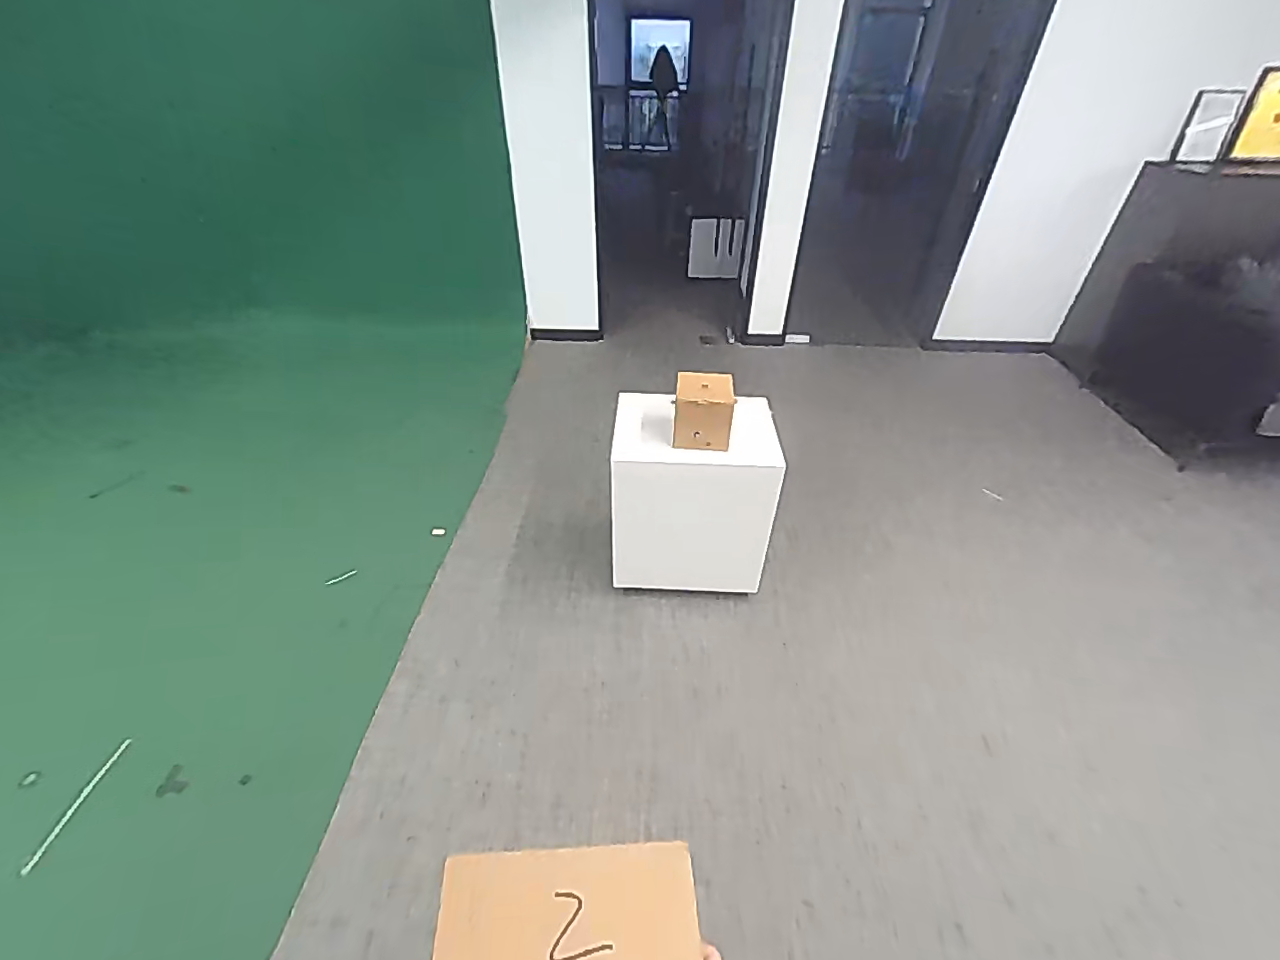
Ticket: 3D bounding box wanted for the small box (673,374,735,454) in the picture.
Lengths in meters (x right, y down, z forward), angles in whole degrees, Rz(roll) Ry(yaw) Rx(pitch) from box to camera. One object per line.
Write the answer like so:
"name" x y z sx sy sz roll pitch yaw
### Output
"small box" 0.187 -0.199 1.618 0.168 0.176 0.179 3 37 3
